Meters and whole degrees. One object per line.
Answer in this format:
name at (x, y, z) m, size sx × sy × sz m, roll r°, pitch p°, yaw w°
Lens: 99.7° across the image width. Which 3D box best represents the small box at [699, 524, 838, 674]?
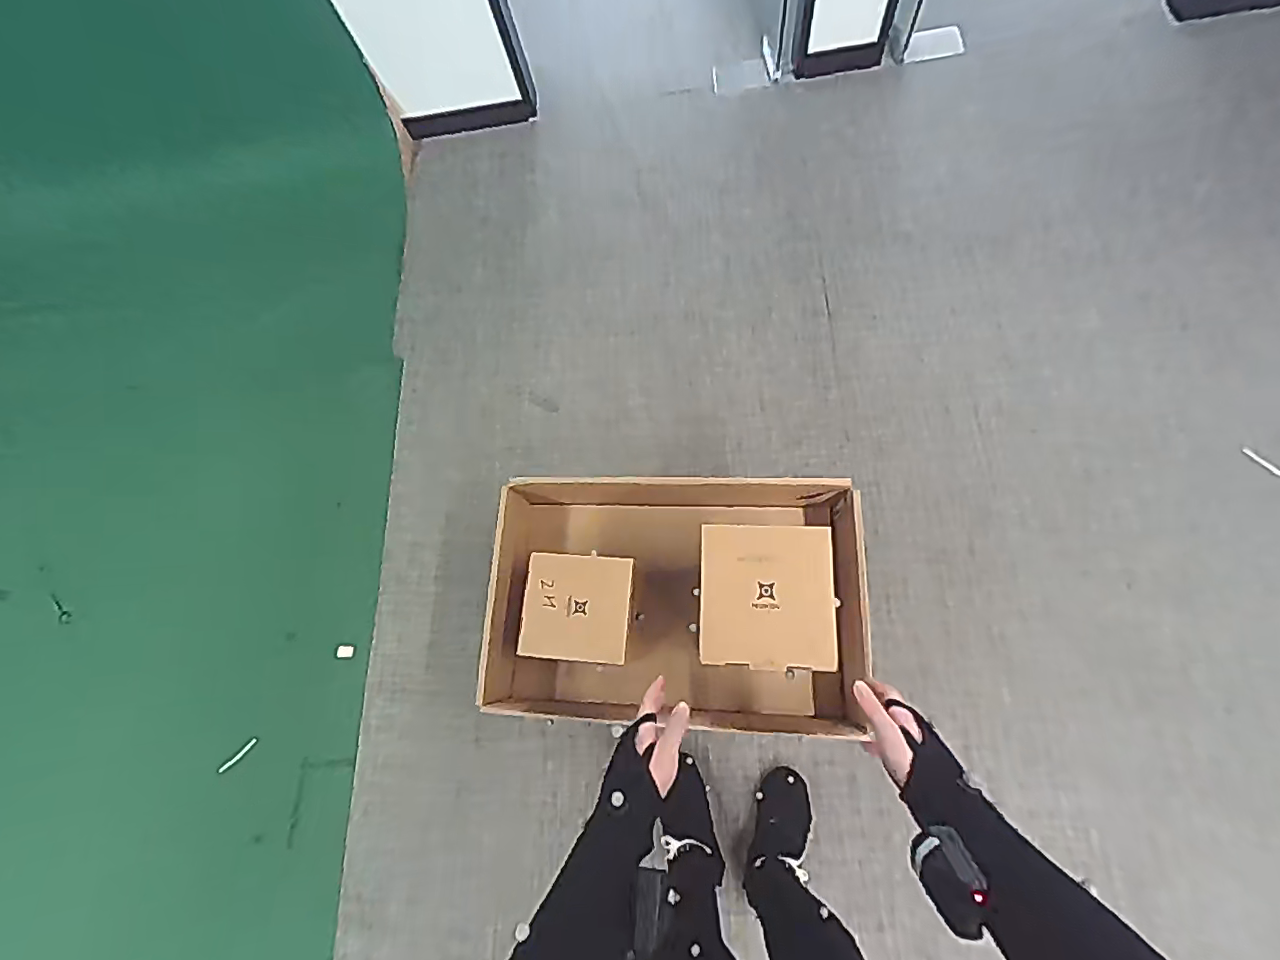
small box at (0.169, 0.165, 0.745) m, size 0.168 × 0.176 × 0.179 m, roll 1°, pitch 73°, yaw 8°
